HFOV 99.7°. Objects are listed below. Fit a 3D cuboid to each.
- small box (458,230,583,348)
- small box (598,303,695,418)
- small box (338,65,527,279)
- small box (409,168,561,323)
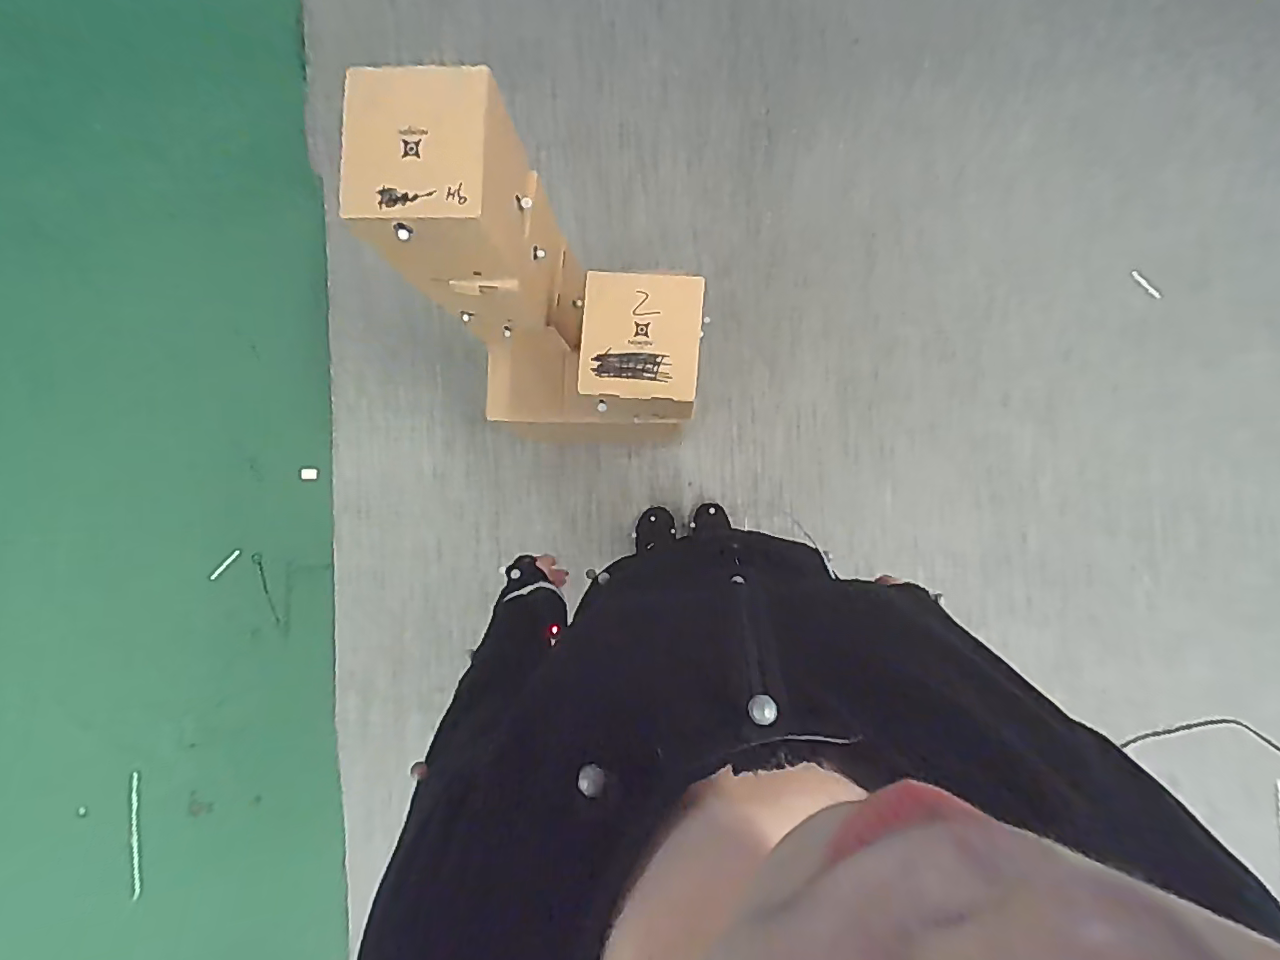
[{"bbox_3d":[-0.214,-0.355,1.011,0.179,0.176,0.168,7,89,3],"label":"small box"},{"bbox_3d":[0.017,-0.208,0.988,0.168,0.176,0.179,-1,88,4],"label":"small box"},{"bbox_3d":[-0.247,-0.377,0.684,0.168,0.176,0.179,3,87,5],"label":"small box"},{"bbox_3d":[-0.231,-0.363,0.848,0.168,0.176,0.179,10,87,4],"label":"small box"}]
